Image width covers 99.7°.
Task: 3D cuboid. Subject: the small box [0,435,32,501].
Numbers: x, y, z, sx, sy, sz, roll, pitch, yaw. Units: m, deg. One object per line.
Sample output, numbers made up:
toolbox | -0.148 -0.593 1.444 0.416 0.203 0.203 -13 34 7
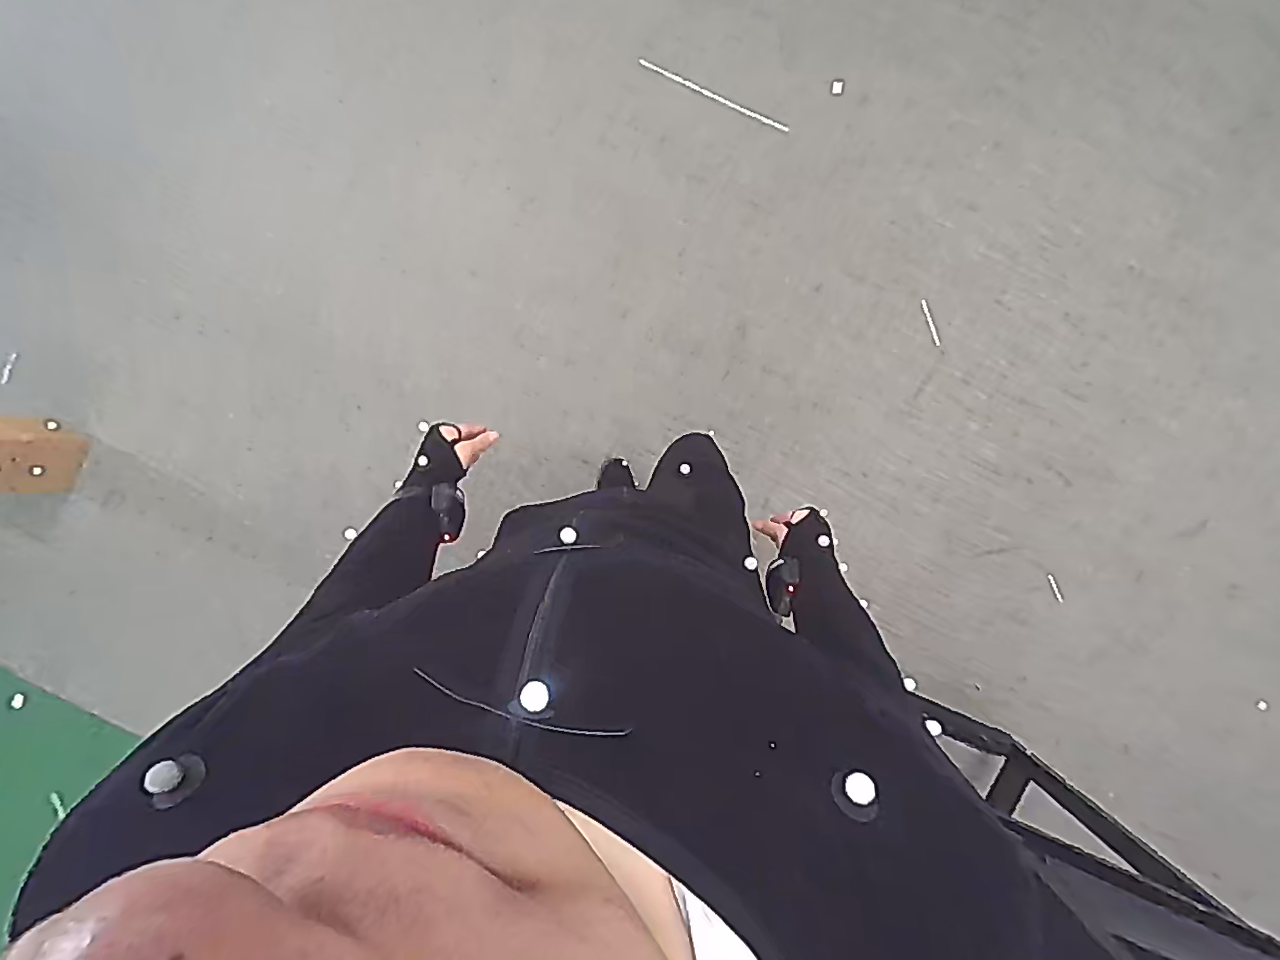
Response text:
small box | -1.790 -0.041 1.425 0.179 0.176 0.168 22 92 0

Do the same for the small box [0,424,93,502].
small box | -1.783 -0.051 1.588 0.168 0.176 0.179 25 92 0
